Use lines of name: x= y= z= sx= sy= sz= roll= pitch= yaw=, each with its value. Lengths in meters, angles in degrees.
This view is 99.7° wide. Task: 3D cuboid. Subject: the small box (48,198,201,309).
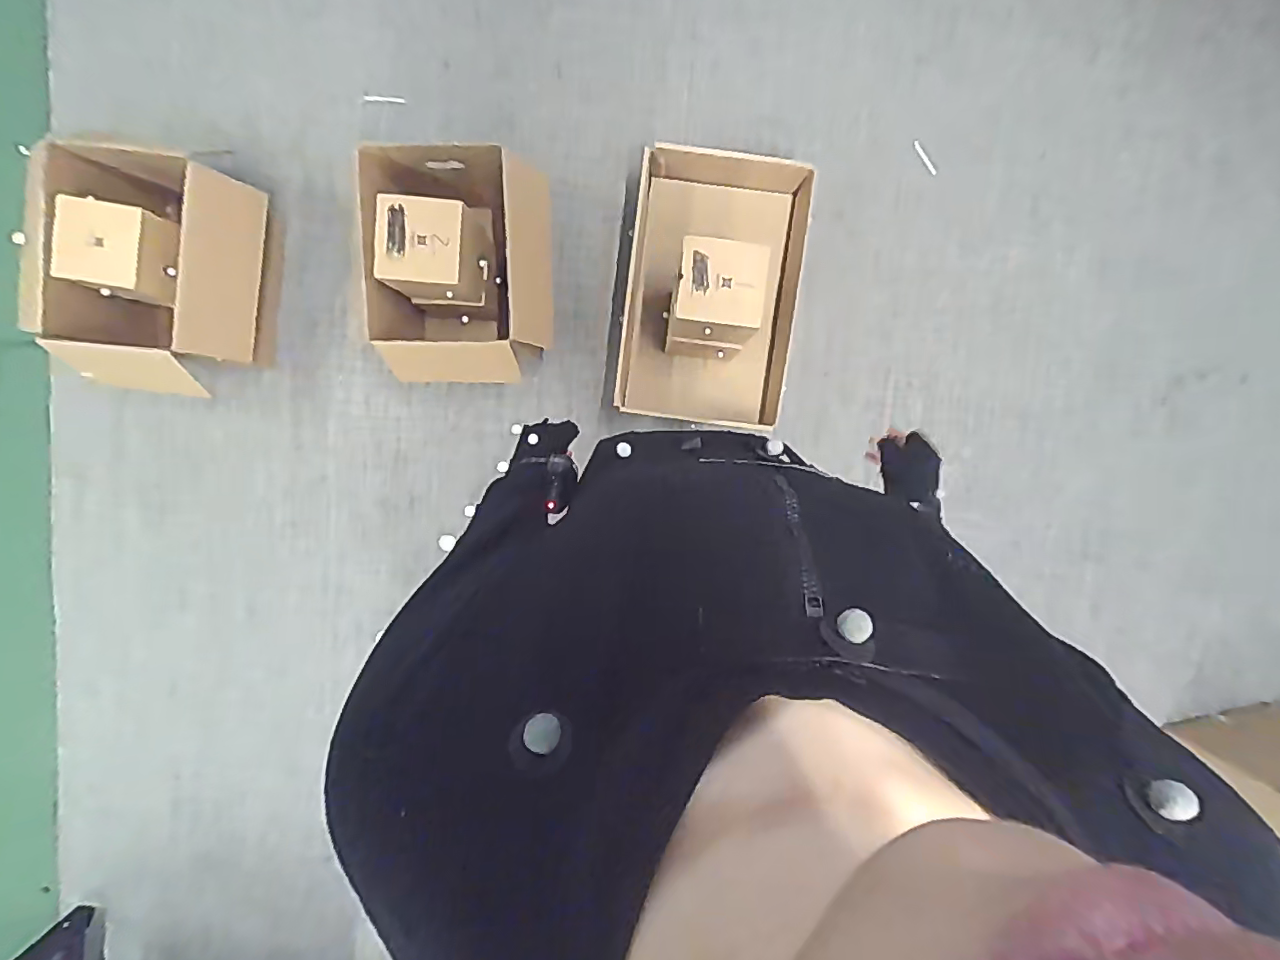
small box: x=-1.108 y=-0.482 z=1.176 sx=0.179 sy=0.176 sz=0.168 roll=8 pitch=94 yaw=-1

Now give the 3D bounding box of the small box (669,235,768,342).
small box: x=0.158 y=-0.398 z=1.151 sx=0.179 sy=0.176 sz=0.168 roll=6 pitch=92 yaw=-2
